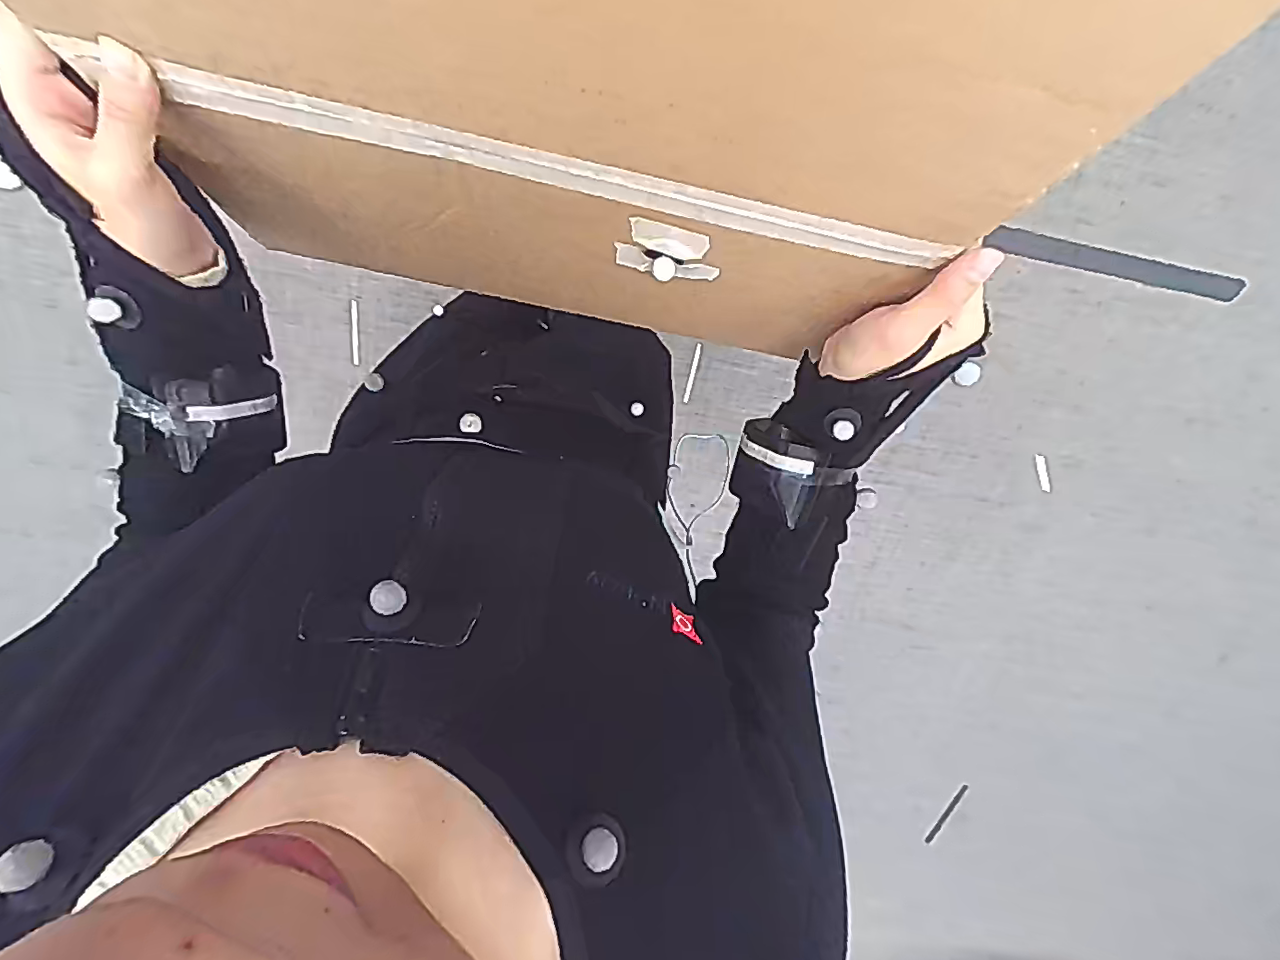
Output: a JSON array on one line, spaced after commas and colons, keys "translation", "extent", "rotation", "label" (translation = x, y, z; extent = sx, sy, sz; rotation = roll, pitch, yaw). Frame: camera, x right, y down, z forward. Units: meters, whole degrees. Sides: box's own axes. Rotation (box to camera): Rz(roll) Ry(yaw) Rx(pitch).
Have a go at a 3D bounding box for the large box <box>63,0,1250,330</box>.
[{"translation": [-0.010, -0.305, 0.243], "extent": [0.408, 0.320, 0.320], "rotation": [9, 83, -5], "label": "large box"}]
